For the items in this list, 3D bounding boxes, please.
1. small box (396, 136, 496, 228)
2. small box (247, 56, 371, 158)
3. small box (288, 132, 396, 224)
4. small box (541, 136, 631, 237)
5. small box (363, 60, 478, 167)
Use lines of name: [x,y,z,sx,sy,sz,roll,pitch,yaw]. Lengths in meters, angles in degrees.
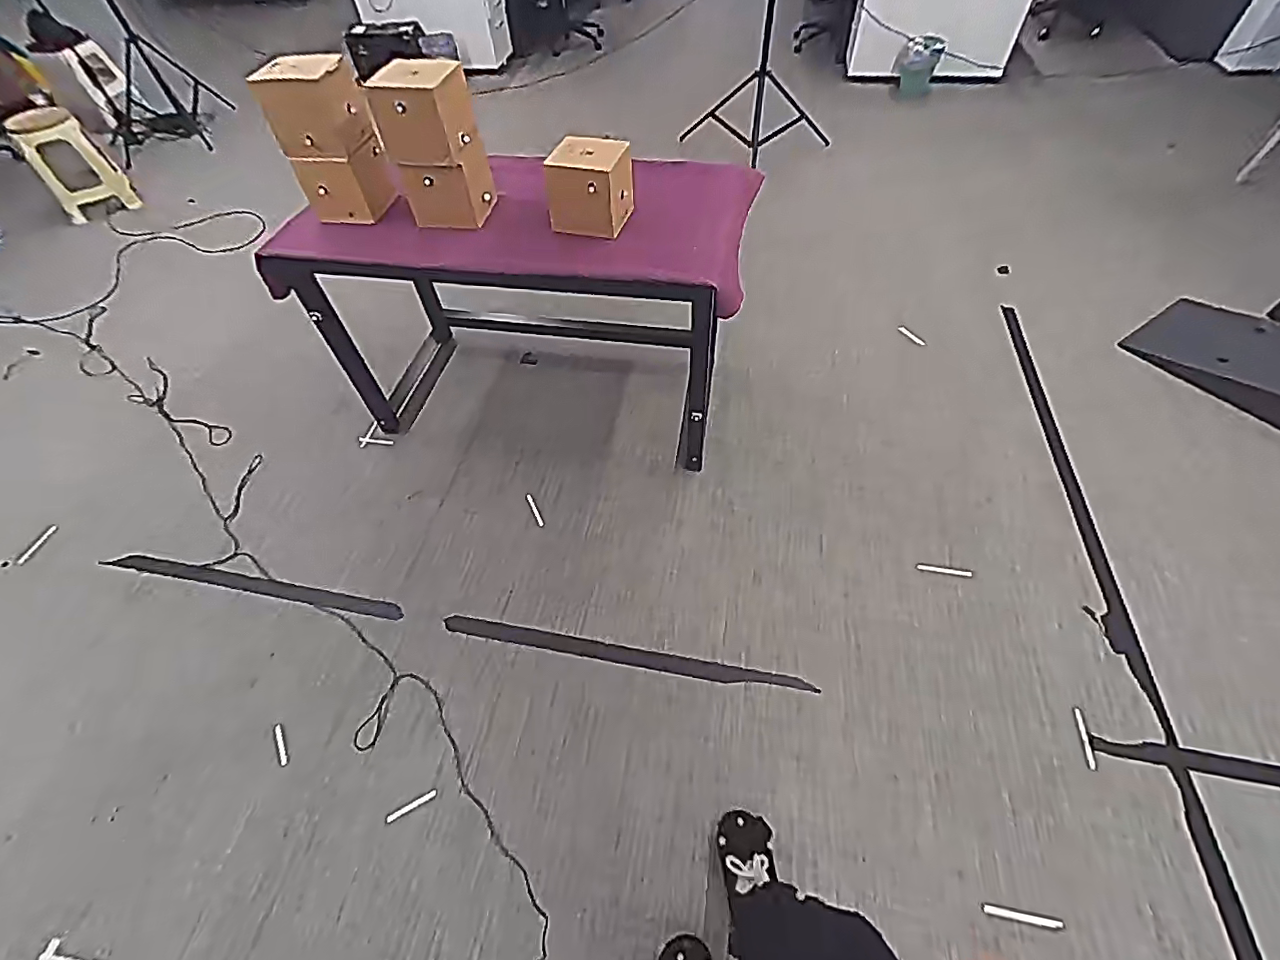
small box: [-0.504,-0.788,1.430,0.179,0.176,0.168,6,54,6]
small box: [-0.806,-0.922,1.341,0.179,0.176,0.168,3,53,4]
small box: [-0.795,-0.817,1.468,0.168,0.176,0.179,4,53,6]
small box: [-0.127,-0.744,1.378,0.179,0.176,0.168,12,54,12]
small box: [-0.514,-0.873,1.293,0.179,0.176,0.168,8,56,7]
